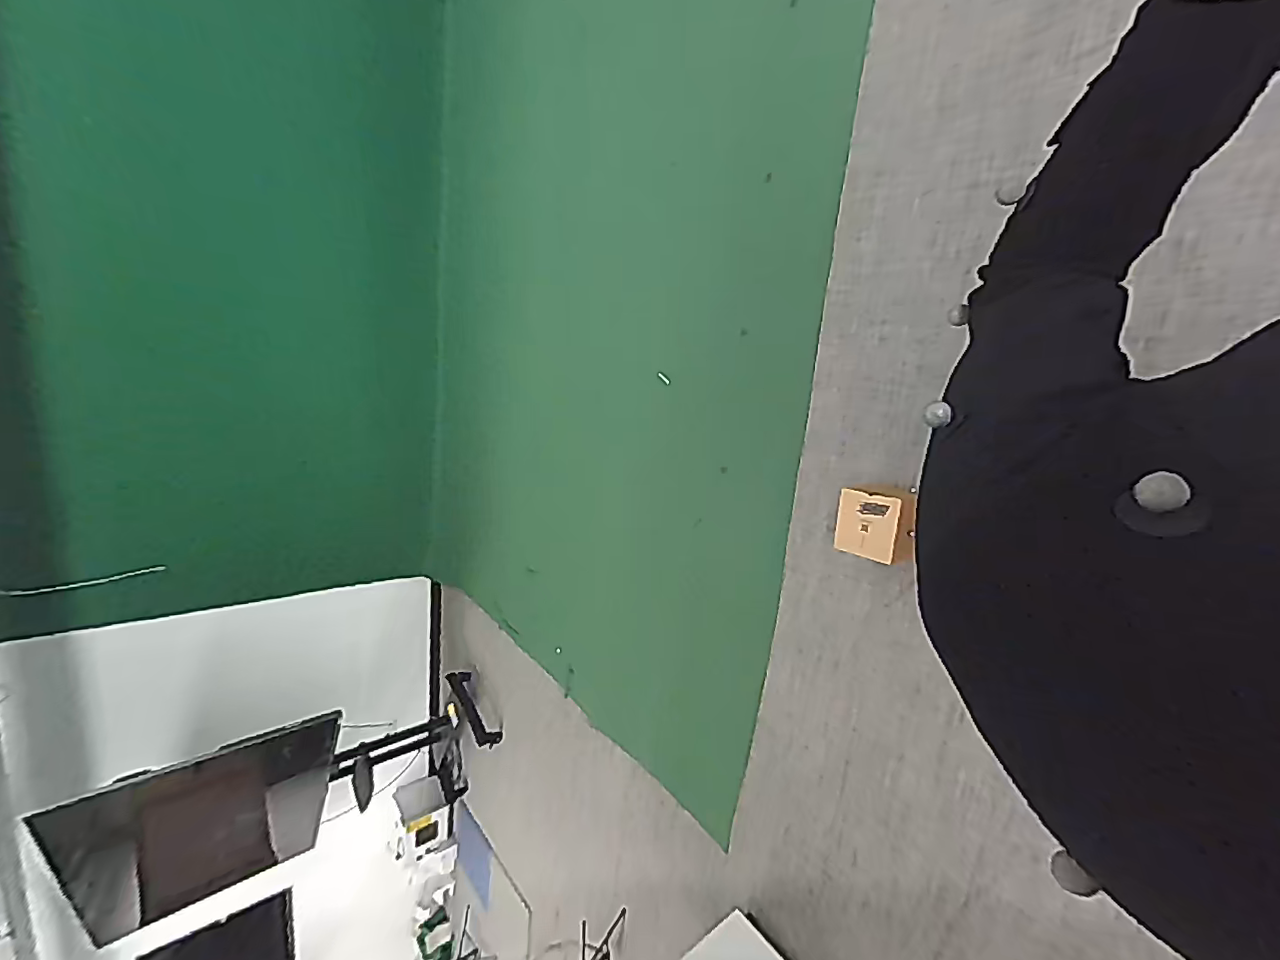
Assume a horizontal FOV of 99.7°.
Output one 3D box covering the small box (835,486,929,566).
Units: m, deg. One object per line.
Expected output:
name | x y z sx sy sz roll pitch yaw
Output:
small box | 0.658 0.117 1.466 0.168 0.176 0.179 16 105 49
